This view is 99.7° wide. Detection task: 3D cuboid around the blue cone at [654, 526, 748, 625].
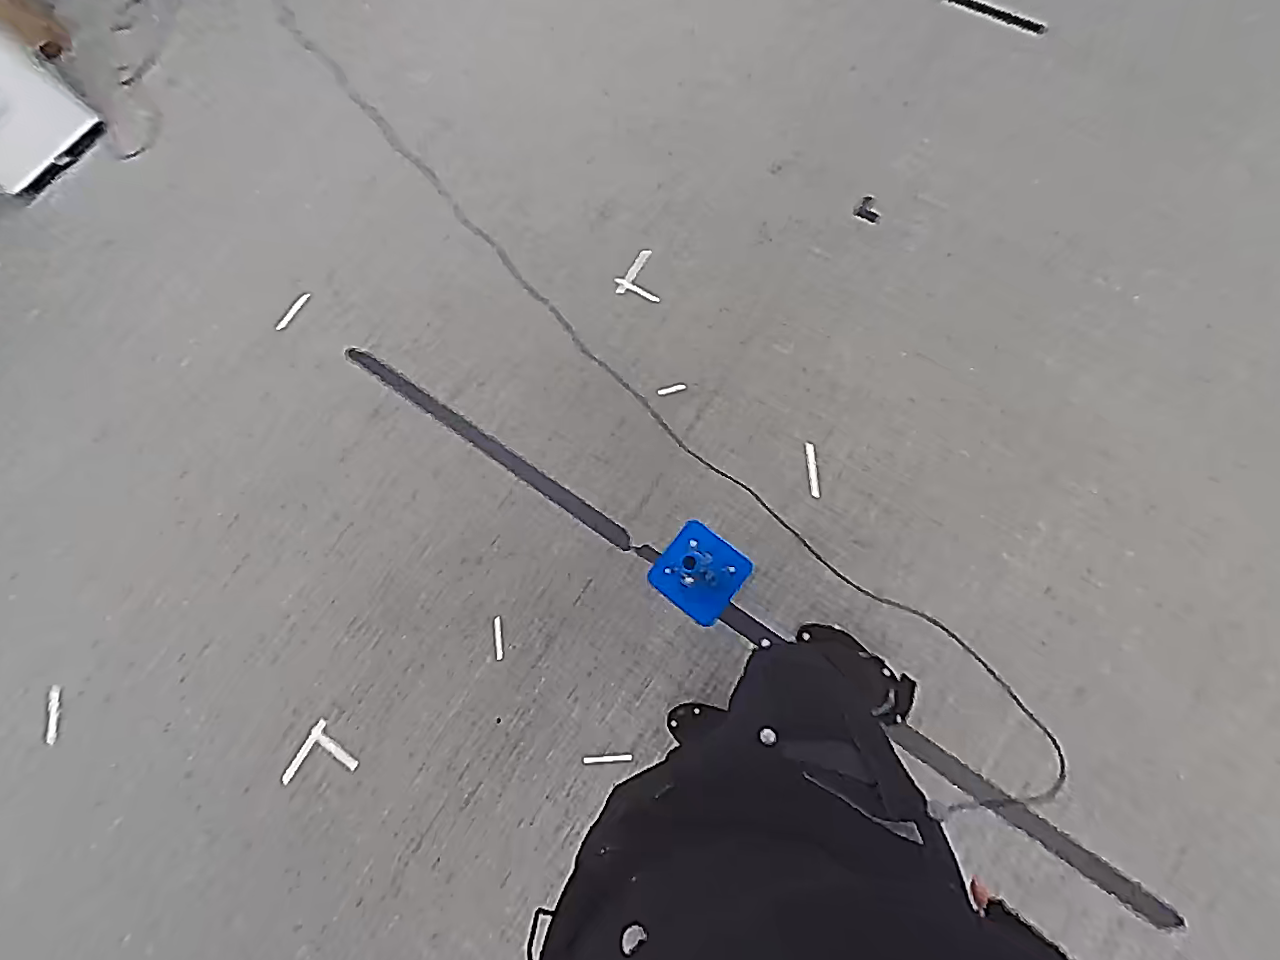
[{"bbox_3d":[0.121,0.191,1.156,0.192,0.380,0.193,35,84,15],"label":"blue cone"}]
